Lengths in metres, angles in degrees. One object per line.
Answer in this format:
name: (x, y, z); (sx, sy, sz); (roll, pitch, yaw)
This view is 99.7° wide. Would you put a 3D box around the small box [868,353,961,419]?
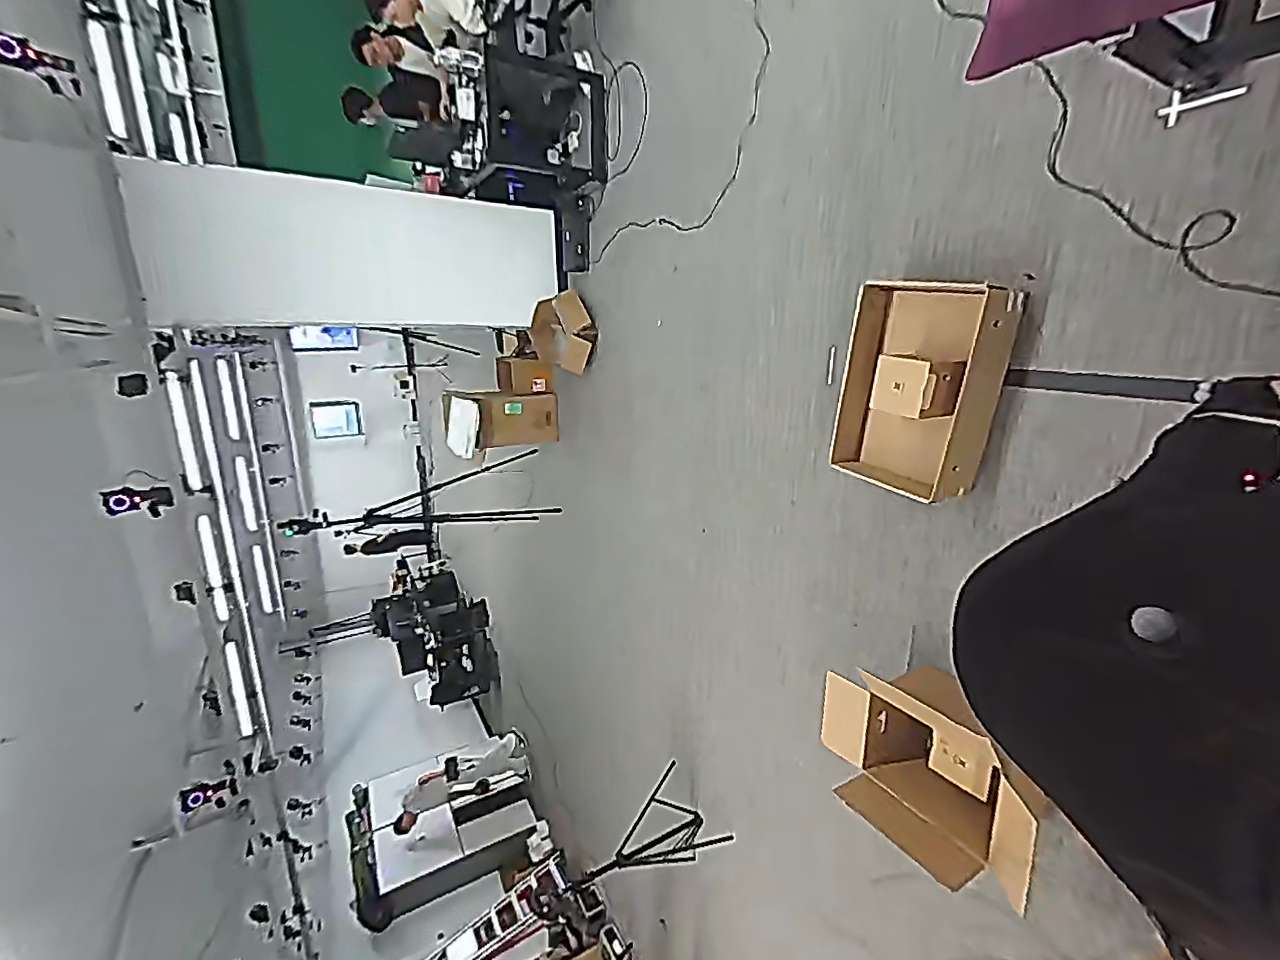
small box: (0.832, -0.291, 1.636); (0.179, 0.176, 0.168); (33, 125, 53)
